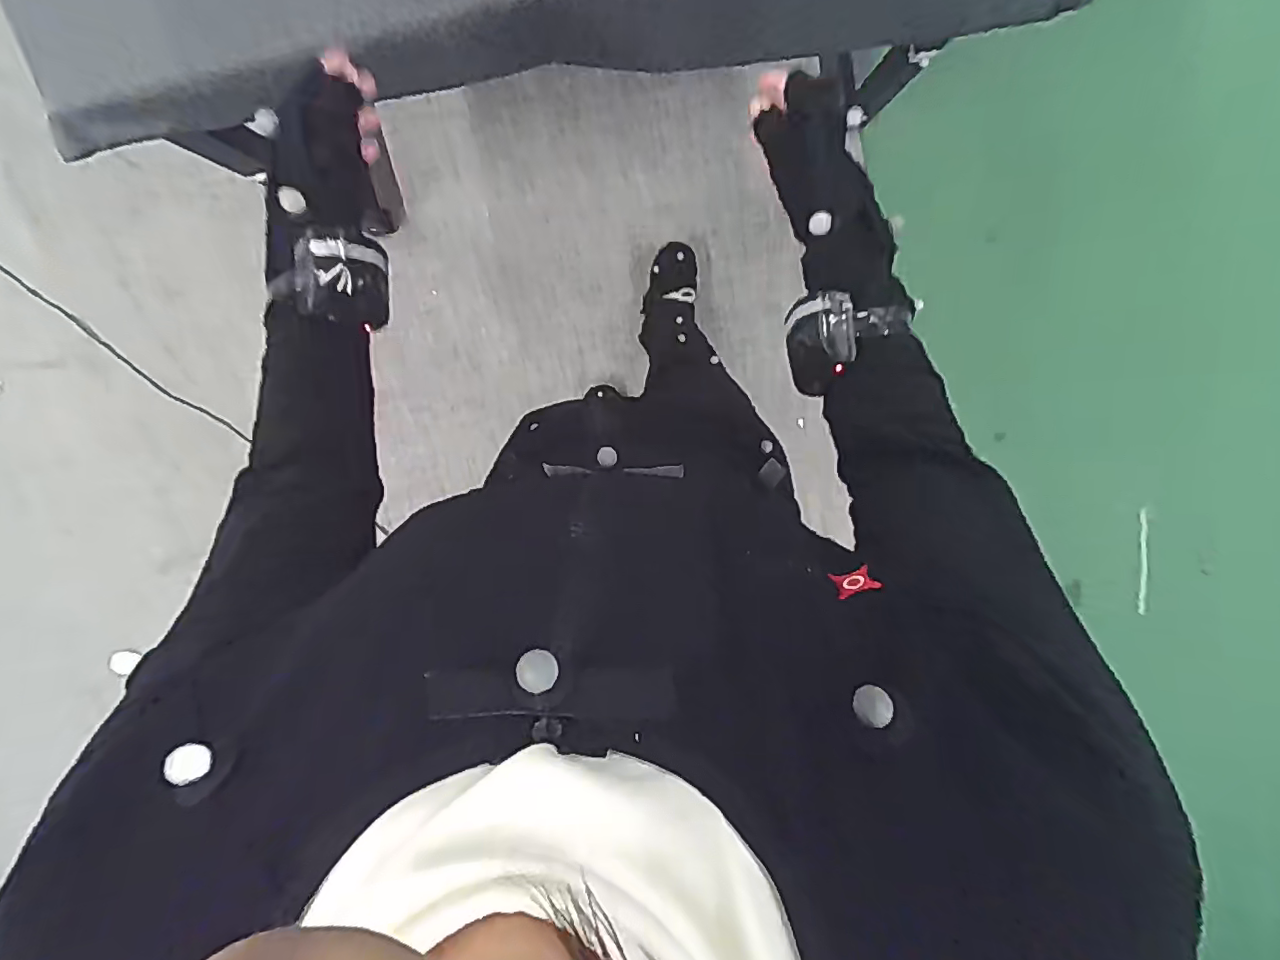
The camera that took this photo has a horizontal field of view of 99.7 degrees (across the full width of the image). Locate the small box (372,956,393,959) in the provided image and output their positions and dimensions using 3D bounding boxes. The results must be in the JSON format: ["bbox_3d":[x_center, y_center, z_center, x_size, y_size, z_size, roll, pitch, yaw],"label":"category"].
[{"bbox_3d":[-0.640,1.331,1.326,0.168,0.176,0.179,25,101,-5],"label":"small box"}]
